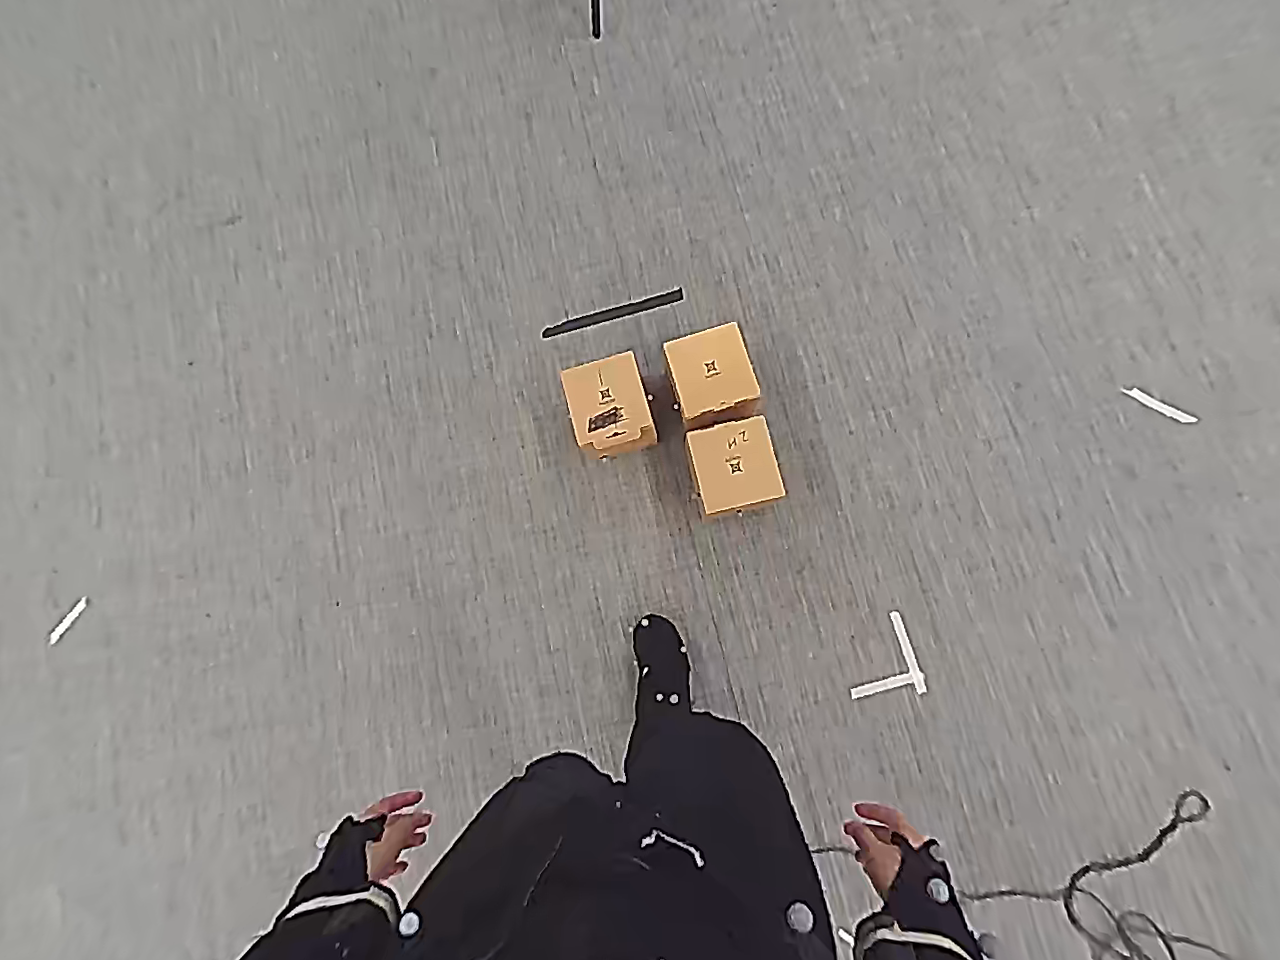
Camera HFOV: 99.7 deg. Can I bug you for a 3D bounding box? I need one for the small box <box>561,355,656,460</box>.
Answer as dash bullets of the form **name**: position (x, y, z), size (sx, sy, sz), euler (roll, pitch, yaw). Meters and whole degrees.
- **small box**: position (-0.064, -0.152, 1.218), size (0.168, 0.176, 0.179), euler (-16, 78, 2)
